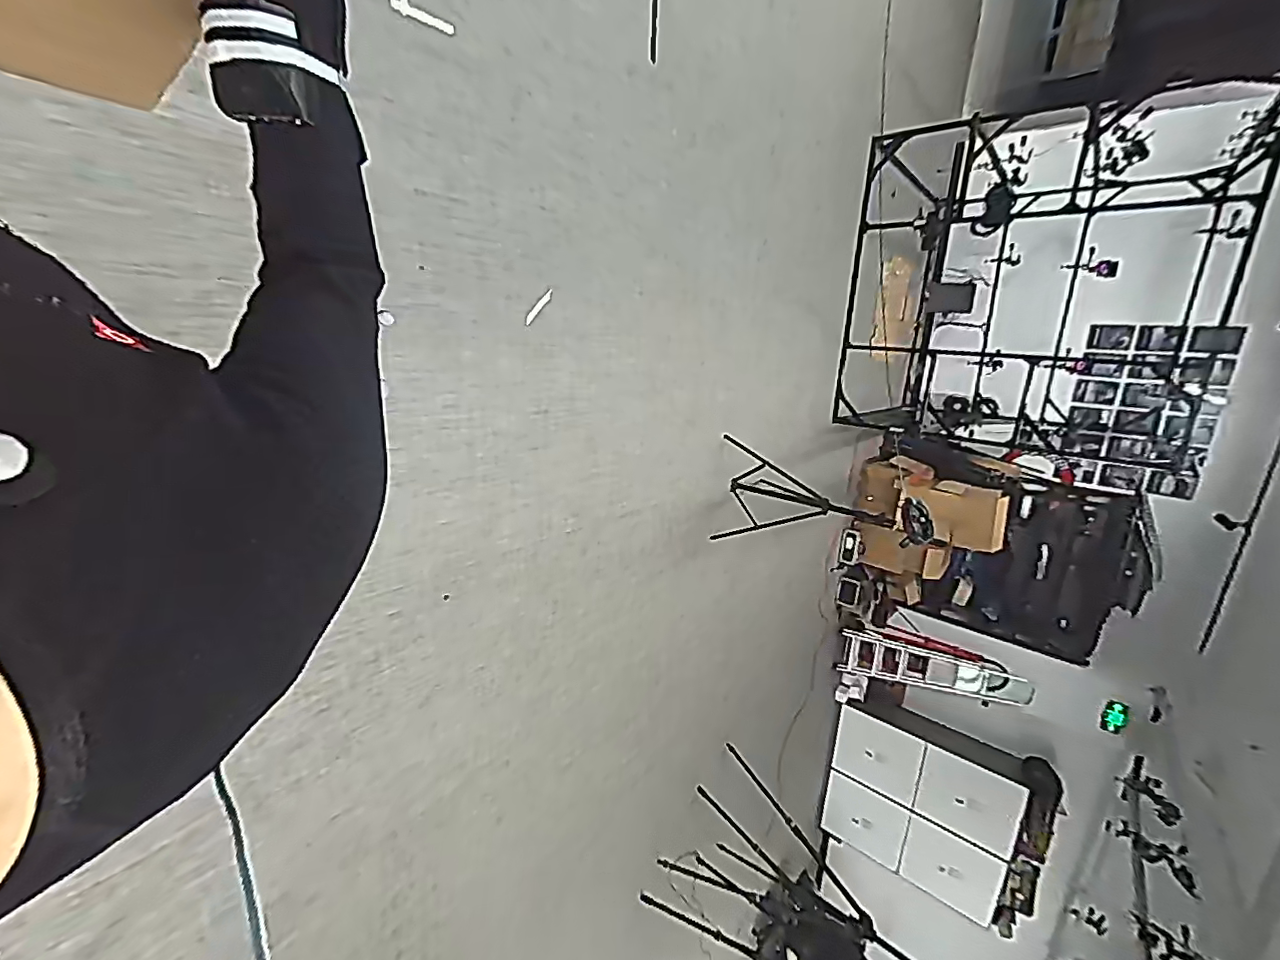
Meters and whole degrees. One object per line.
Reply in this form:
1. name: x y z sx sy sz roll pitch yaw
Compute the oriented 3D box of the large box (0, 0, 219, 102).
1. large box: -0.483 -0.457 0.250 0.408 0.320 0.320 -13 108 -49
